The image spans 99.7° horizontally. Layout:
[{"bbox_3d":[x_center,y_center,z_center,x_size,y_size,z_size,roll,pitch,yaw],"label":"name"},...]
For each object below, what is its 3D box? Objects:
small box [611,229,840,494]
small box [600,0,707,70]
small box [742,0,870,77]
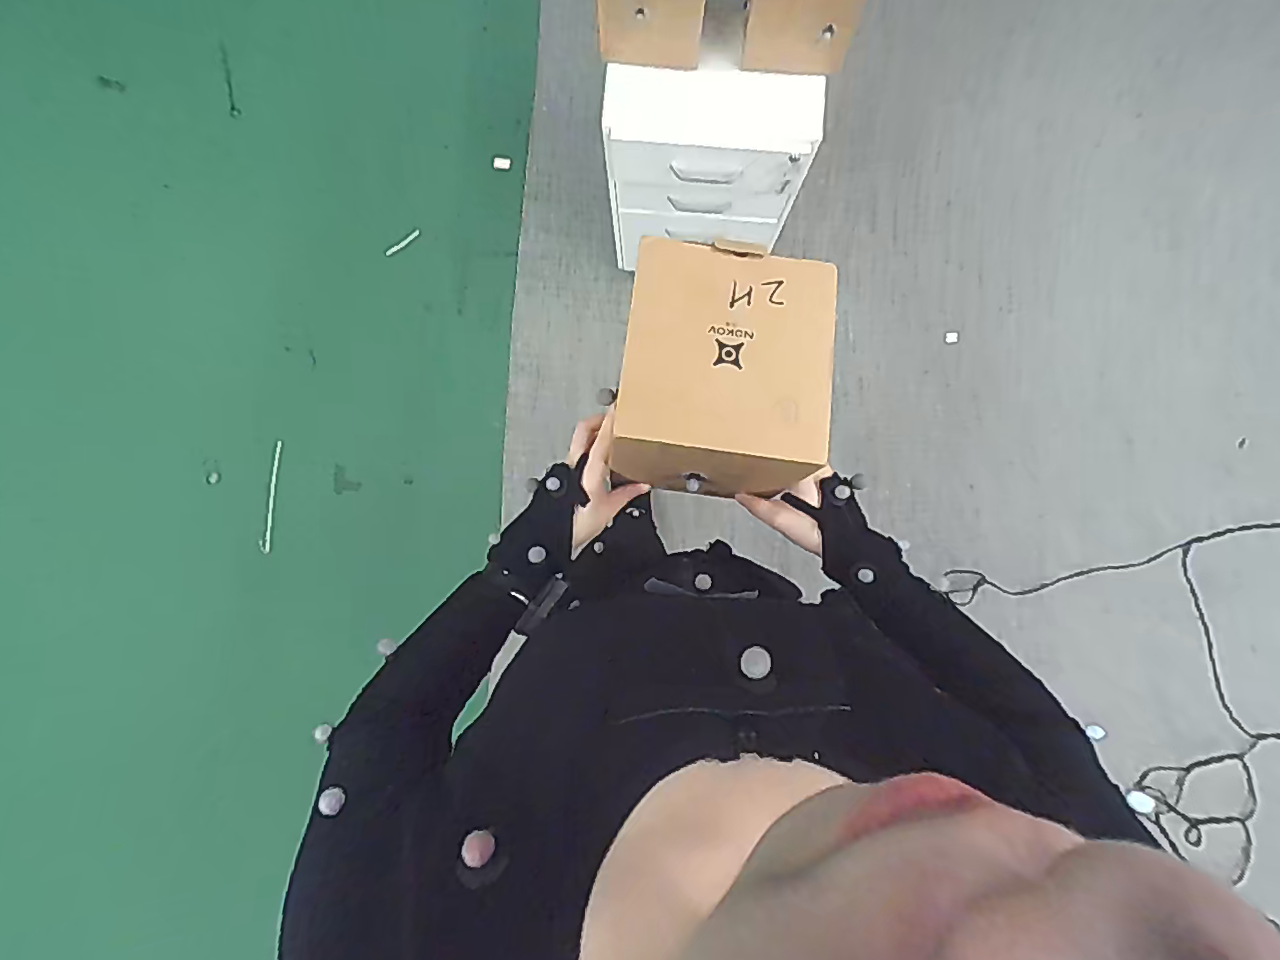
[{"bbox_3d":[0.066,-0.092,0.500,0.168,0.176,0.179,8,77,-3],"label":"small box"},{"bbox_3d":[0.026,-0.825,0.895,0.179,0.176,0.168,6,86,1],"label":"small box"},{"bbox_3d":[0.272,-0.807,0.892,0.179,0.176,0.168,4,84,3],"label":"small box"}]
